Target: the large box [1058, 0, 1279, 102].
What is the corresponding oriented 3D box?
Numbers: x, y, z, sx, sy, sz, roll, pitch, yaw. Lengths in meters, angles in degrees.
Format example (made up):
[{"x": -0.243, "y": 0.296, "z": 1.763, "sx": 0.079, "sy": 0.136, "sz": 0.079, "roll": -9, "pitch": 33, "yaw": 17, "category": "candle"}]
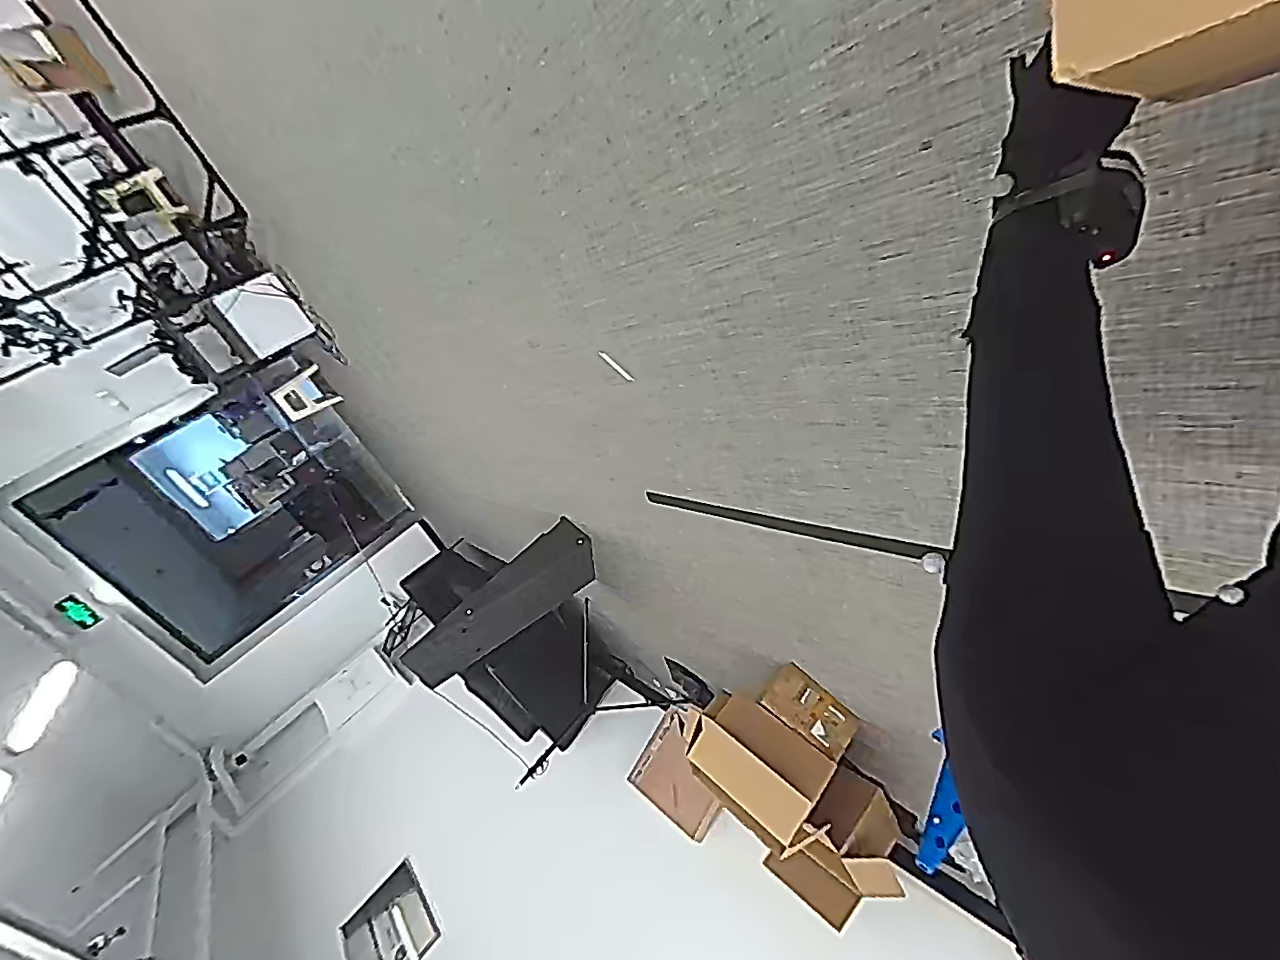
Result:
[{"x": 0.433, "y": -0.404, "z": 0.194, "sx": 0.408, "sy": 0.320, "sz": 0.320, "roll": 7, "pitch": 117, "yaw": 52, "category": "large box"}]
